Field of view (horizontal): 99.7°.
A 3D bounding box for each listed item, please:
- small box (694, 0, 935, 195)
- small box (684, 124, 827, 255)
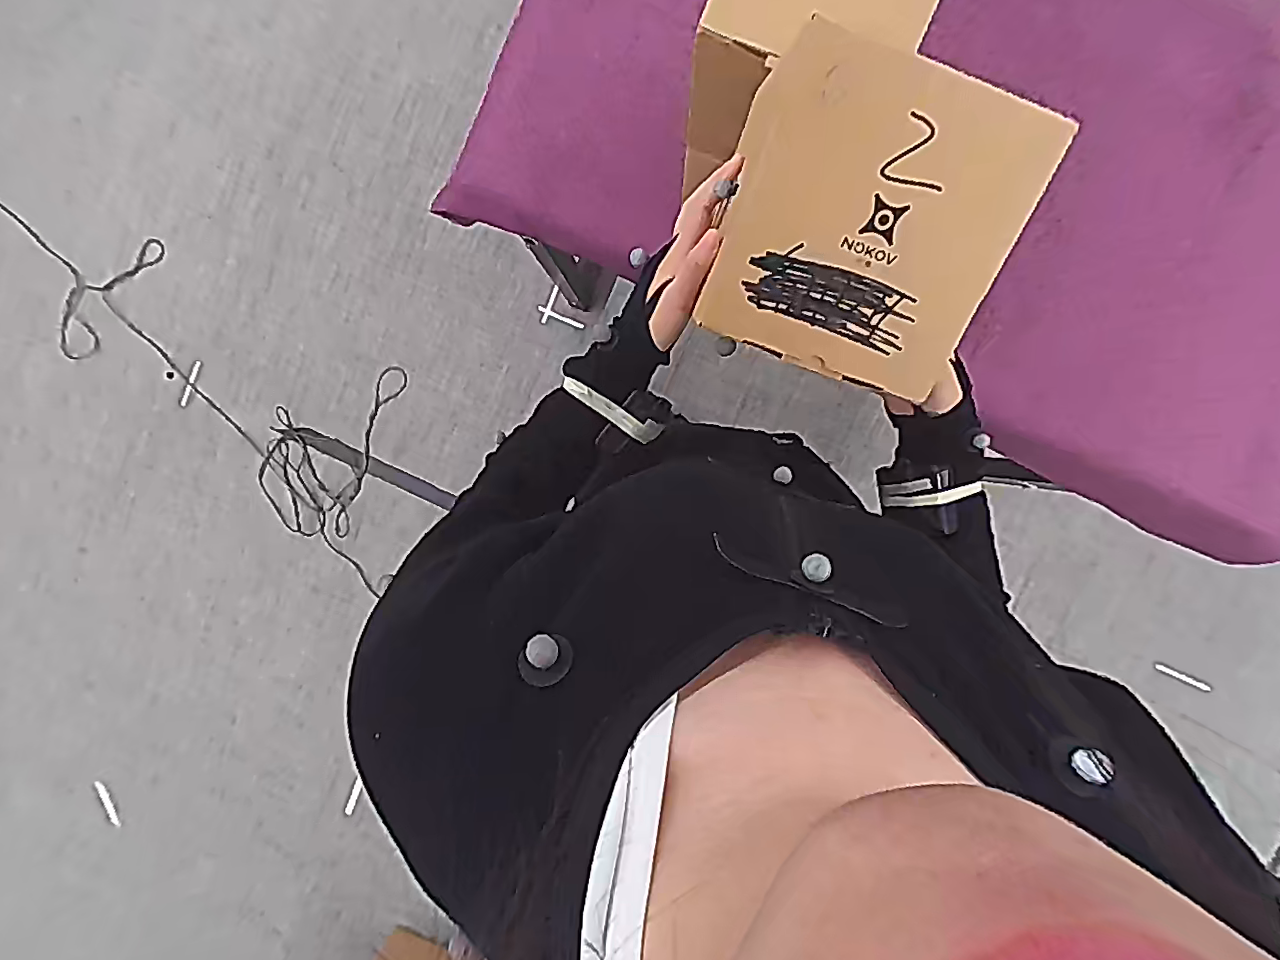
[{"bbox_3d":[0.156,-0.404,0.500,0.168,0.176,0.179,23,95,0],"label":"small box"},{"bbox_3d":[0.162,-0.409,0.664,0.168,0.176,0.179,25,94,0],"label":"small box"}]
